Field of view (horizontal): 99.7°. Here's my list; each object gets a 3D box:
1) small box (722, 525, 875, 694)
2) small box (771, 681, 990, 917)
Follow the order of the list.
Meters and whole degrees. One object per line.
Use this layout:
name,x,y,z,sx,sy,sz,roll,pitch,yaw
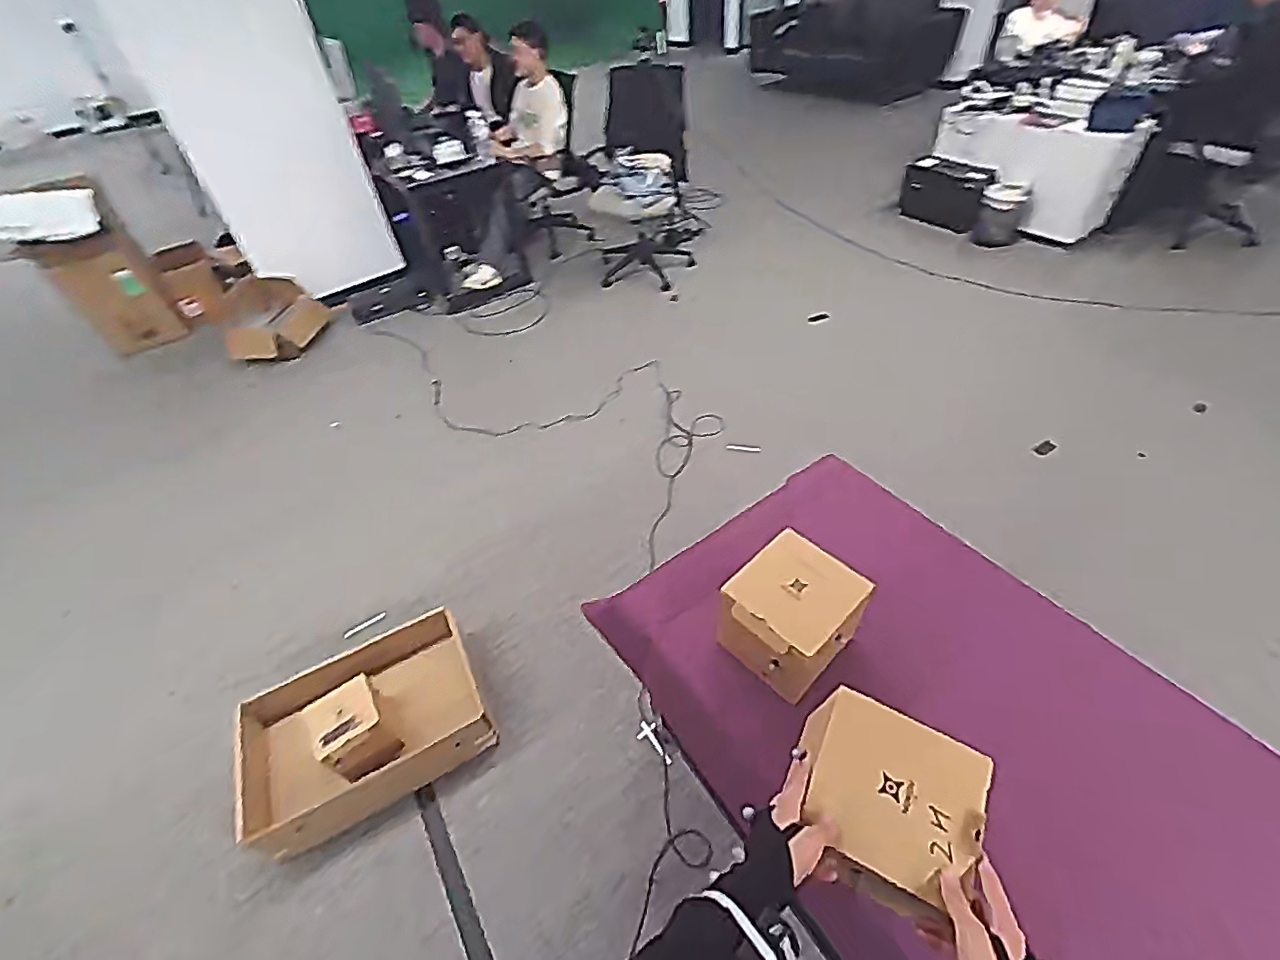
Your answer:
small box,0.252,0.217,0.894,0.179,0.176,0.168,-36,54,-25
small box,0.273,0.375,0.646,0.179,0.176,0.168,23,60,16
